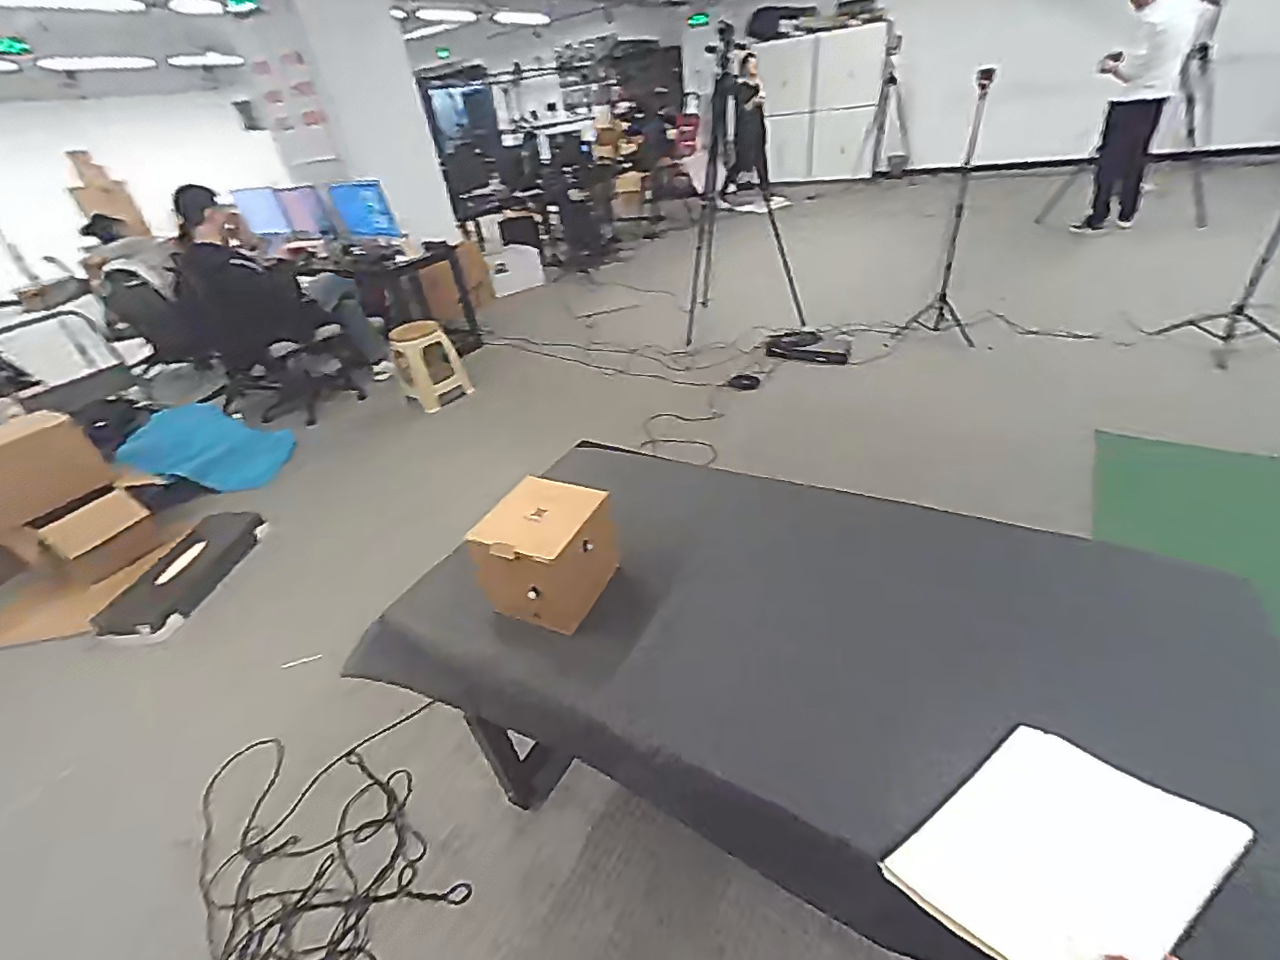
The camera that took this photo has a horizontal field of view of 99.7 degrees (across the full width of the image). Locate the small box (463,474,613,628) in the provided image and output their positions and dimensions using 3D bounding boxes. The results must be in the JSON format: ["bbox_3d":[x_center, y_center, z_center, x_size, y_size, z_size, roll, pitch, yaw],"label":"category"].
[{"bbox_3d":[-0.157,0.116,0.904,0.168,0.176,0.179,11,38,23],"label":"small box"}]
